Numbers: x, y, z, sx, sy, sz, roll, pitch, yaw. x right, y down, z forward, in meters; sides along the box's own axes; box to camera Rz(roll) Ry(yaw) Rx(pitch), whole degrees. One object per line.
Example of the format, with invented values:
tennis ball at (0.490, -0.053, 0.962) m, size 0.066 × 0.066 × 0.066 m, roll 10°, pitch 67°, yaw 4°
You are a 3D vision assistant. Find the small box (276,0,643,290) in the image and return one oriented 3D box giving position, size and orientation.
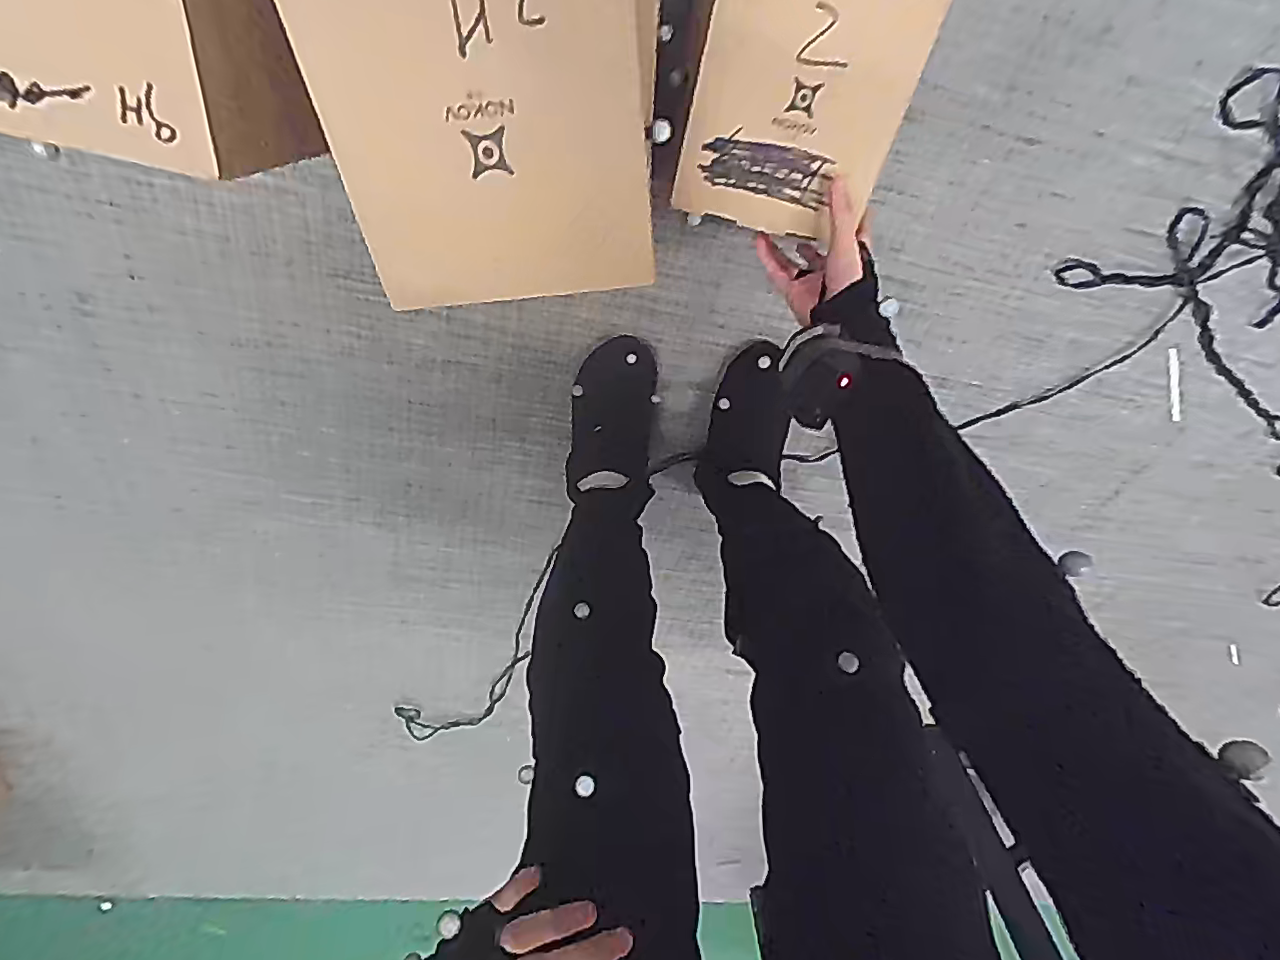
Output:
small box at (-0.085, -0.238, 0.339) m, size 0.168 × 0.176 × 0.179 m, roll -5°, pitch 127°, yaw 1°
